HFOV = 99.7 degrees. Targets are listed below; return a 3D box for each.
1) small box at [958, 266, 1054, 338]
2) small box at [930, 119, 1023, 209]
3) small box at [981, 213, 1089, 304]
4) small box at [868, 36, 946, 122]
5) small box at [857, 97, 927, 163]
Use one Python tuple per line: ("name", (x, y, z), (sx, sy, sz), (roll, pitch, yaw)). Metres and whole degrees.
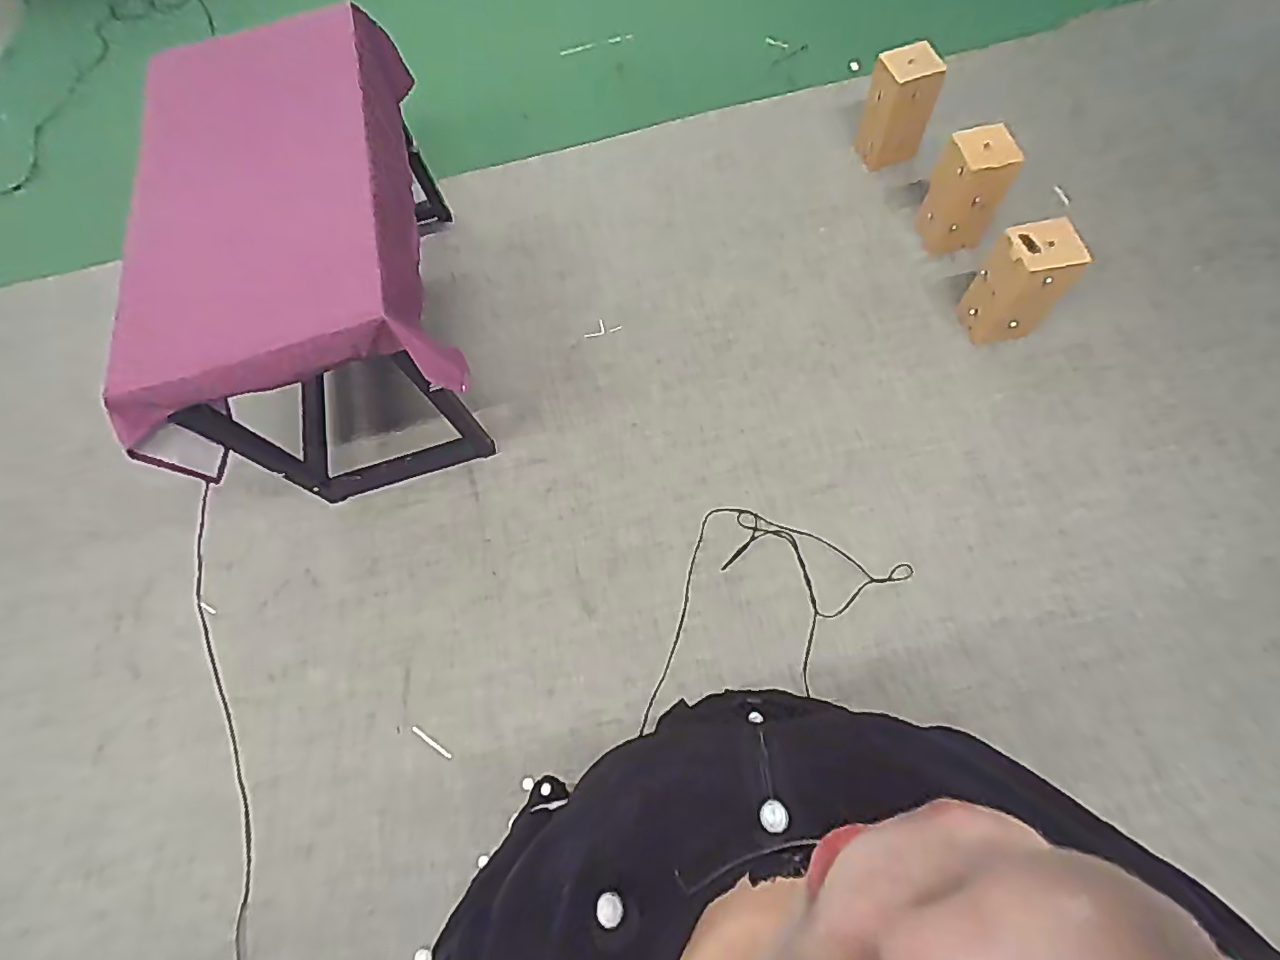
("small box", (1.150, -0.575, 1.722), (0.179, 0.176, 0.168), (-11, 68, 2))
("small box", (1.062, -1.004, 1.725), (0.168, 0.176, 0.179), (-10, 68, 2))
("small box", (1.129, -0.636, 1.570), (0.179, 0.176, 0.168), (-9, 68, 1))
("small box", (0.923, -1.400, 1.897), (0.179, 0.176, 0.168), (-16, 69, 0))
("small box", (0.943, -1.339, 2.049), (0.179, 0.176, 0.168), (-14, 68, 0))
